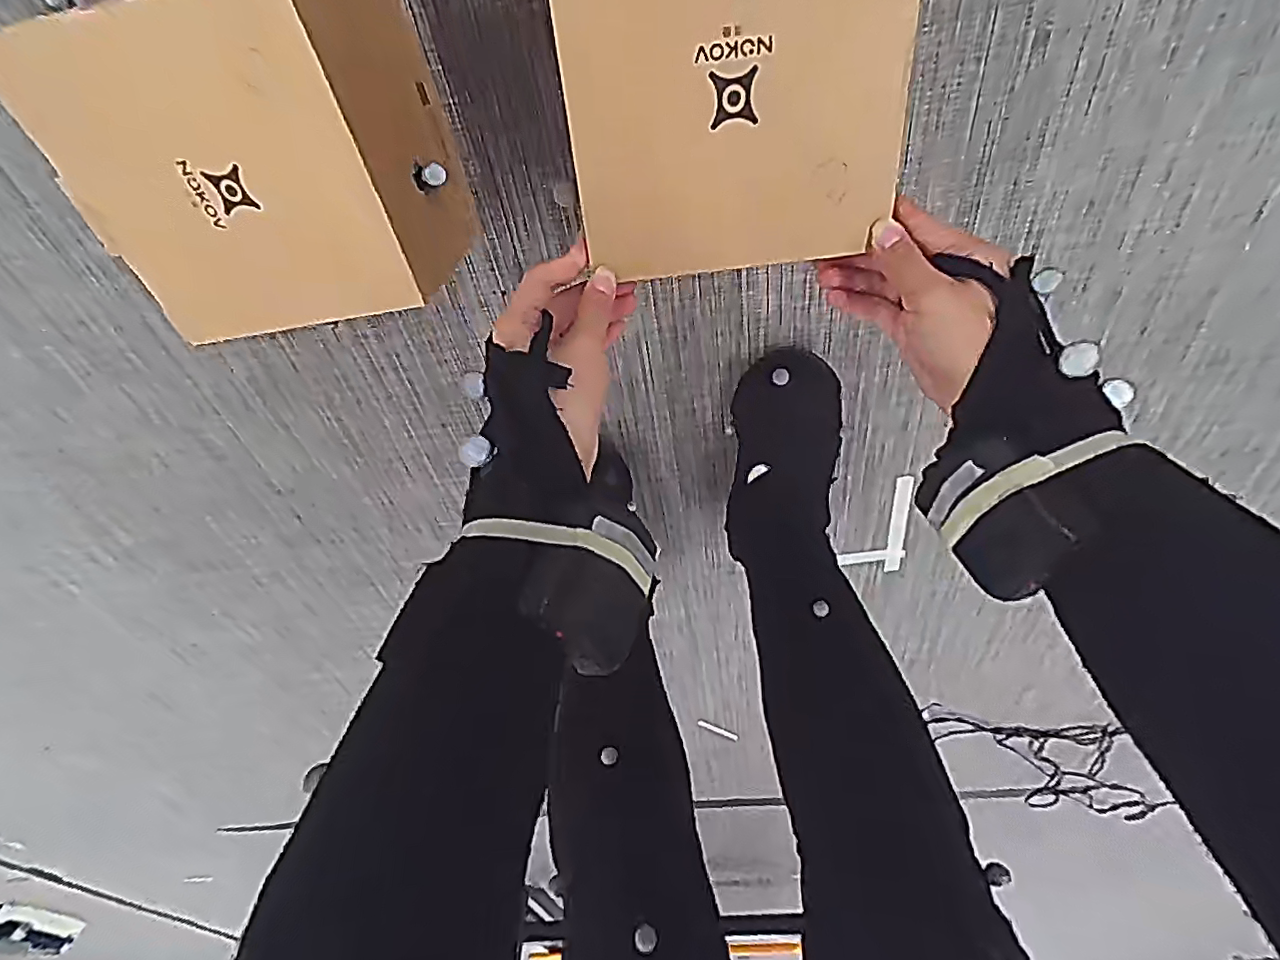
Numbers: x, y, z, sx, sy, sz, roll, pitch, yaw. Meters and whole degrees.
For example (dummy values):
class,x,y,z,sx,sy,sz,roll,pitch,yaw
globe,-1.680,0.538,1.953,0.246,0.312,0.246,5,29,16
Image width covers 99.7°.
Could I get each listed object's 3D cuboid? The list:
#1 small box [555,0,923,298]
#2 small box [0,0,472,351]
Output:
class,x,y,z,sx,sy,sz,roll,pitch,yaw
small box,0.047,-0.226,0.328,0.168,0.176,0.179,-6,122,2
small box,-0.230,-0.211,0.369,0.179,0.176,0.168,-7,130,7
